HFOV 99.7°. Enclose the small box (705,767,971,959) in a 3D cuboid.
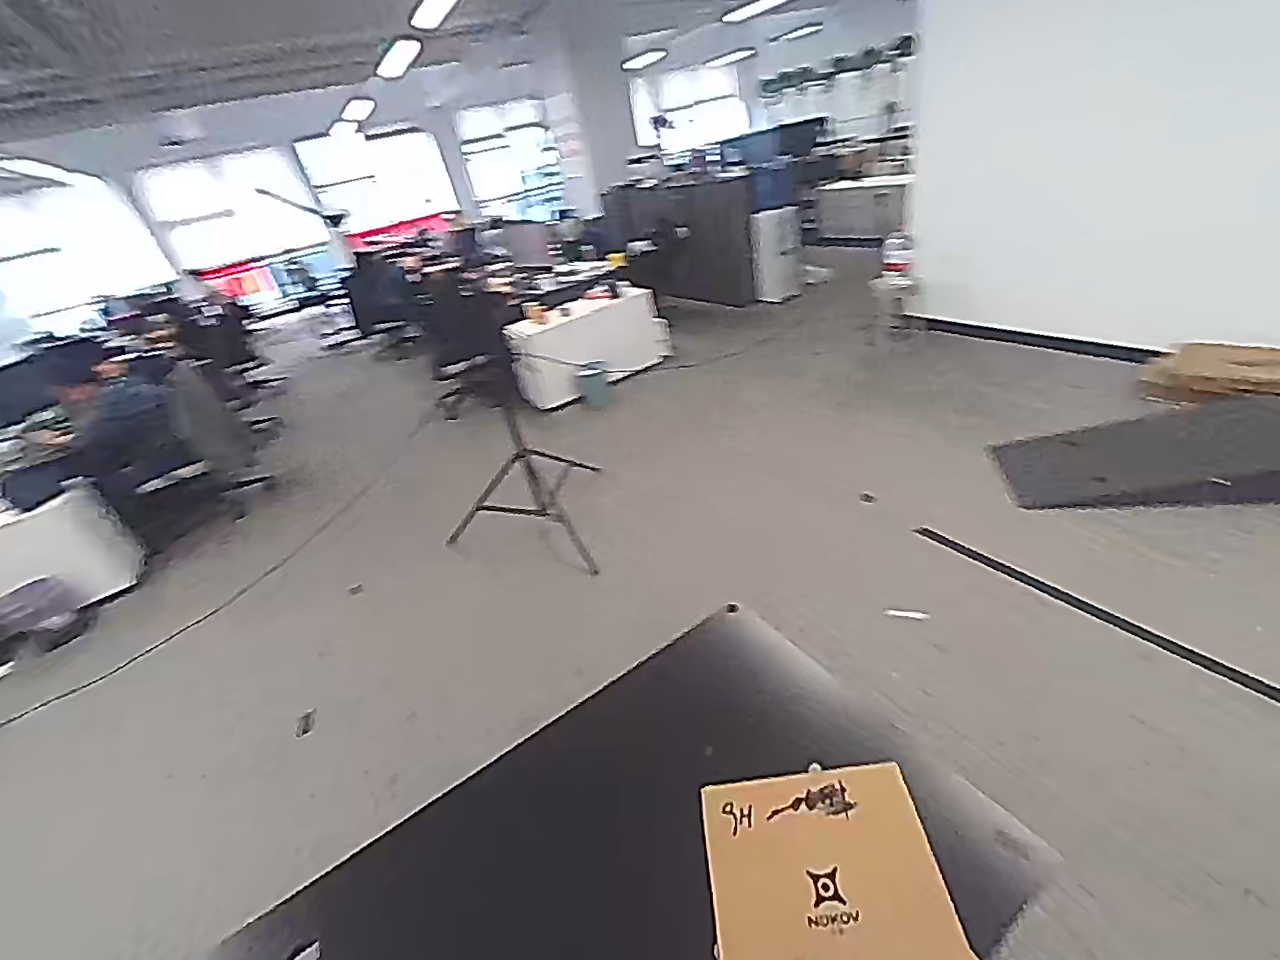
[{"bbox_3d":[0.154,0.362,0.436,0.168,0.176,0.179,-11,40,7],"label":"small box"}]
